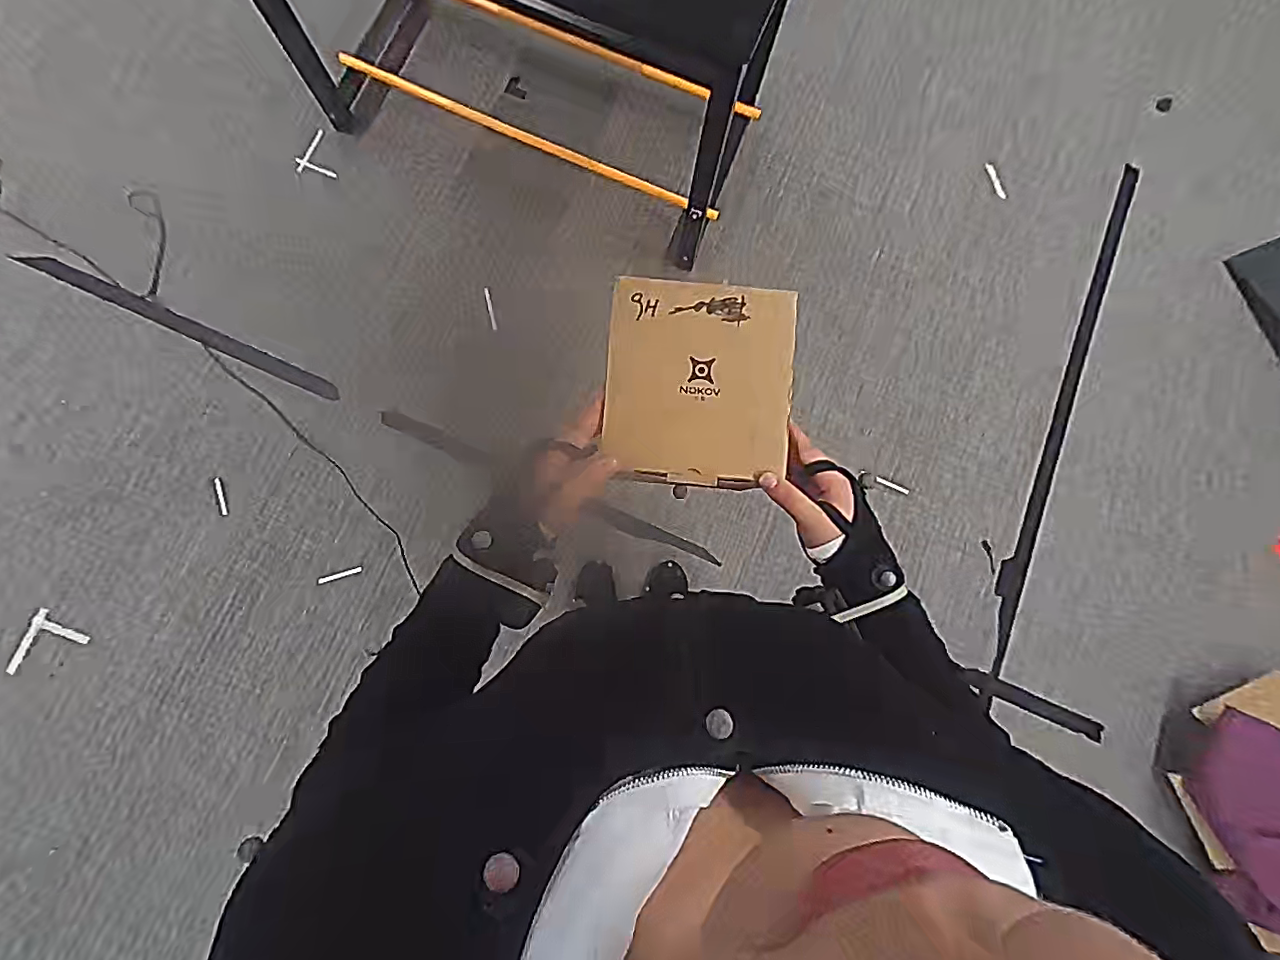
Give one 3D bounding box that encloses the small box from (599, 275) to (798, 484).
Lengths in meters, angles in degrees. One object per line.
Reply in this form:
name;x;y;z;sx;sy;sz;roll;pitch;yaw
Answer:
small box;0.051;-0.088;0.557;0.168;0.176;0.179;4;89;-1
